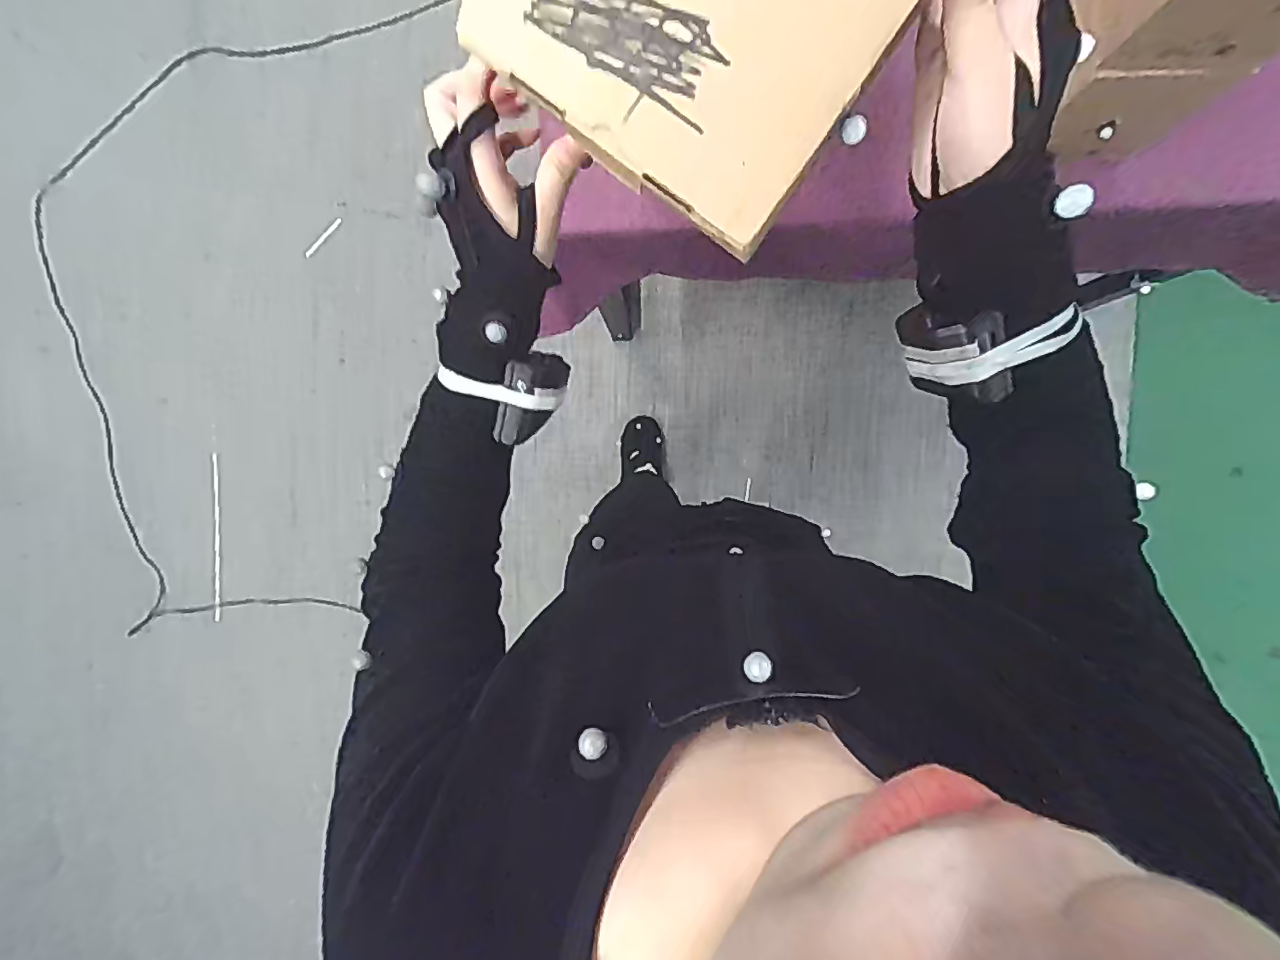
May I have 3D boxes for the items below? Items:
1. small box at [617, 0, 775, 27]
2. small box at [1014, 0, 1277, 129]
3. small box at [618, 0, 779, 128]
[{"bbox_3d":[0.053,-0.561,0.496,0.168,0.176,0.179,-1,92,3],"label":"small box"},{"bbox_3d":[0.569,-0.541,0.627,0.168,0.176,0.179,3,92,3],"label":"small box"},{"bbox_3d":[0.068,-0.562,0.661,0.179,0.176,0.168,0,91,3],"label":"small box"}]
